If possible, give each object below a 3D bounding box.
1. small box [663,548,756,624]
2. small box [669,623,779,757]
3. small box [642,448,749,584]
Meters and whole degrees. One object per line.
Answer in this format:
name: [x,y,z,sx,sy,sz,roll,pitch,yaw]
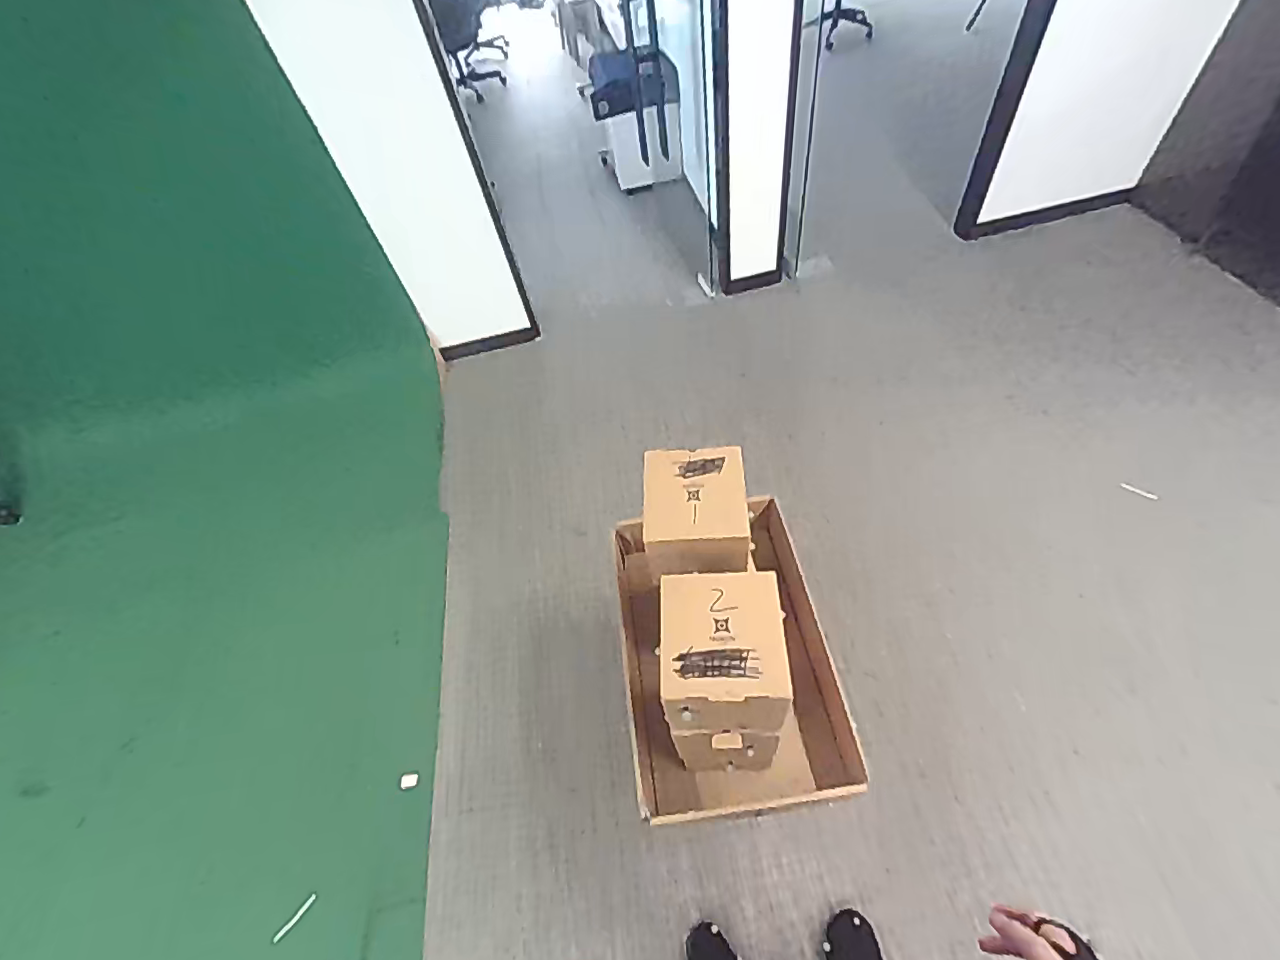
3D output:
small box: [0.123,0.164,1.063,0.168,0.176,0.179,-11,54,1]
small box: [0.139,0.356,0.909,0.168,0.176,0.179,-3,51,7]
small box: [0.096,0.066,0.934,0.168,0.176,0.179,-3,55,7]
